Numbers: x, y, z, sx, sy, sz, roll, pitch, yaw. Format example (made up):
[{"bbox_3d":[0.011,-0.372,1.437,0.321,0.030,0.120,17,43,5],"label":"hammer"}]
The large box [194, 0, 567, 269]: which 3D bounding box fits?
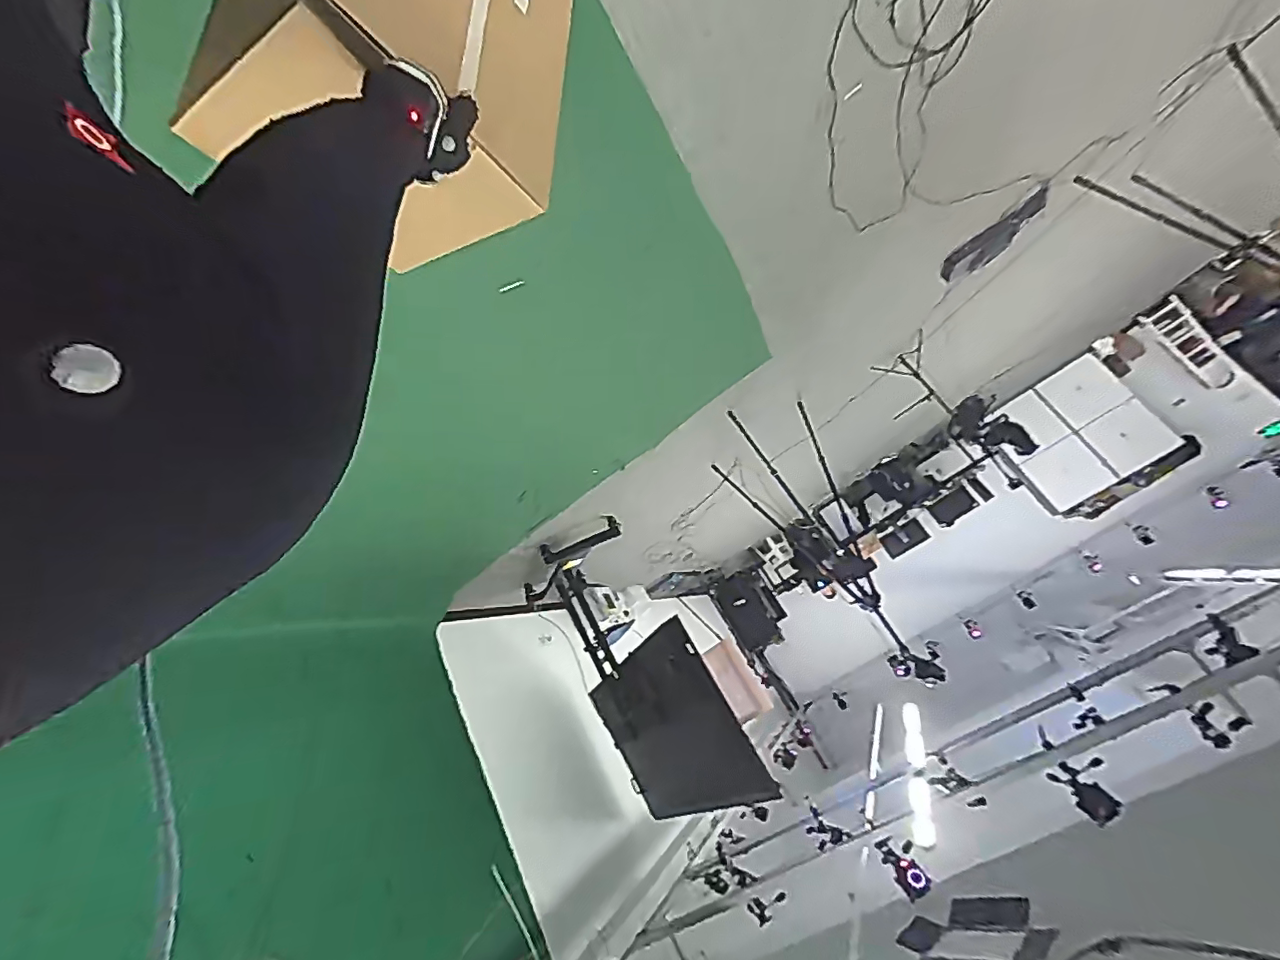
[{"bbox_3d":[-0.324,-0.577,0.731,0.320,0.408,0.320,-6,164,31],"label":"large box"}]
